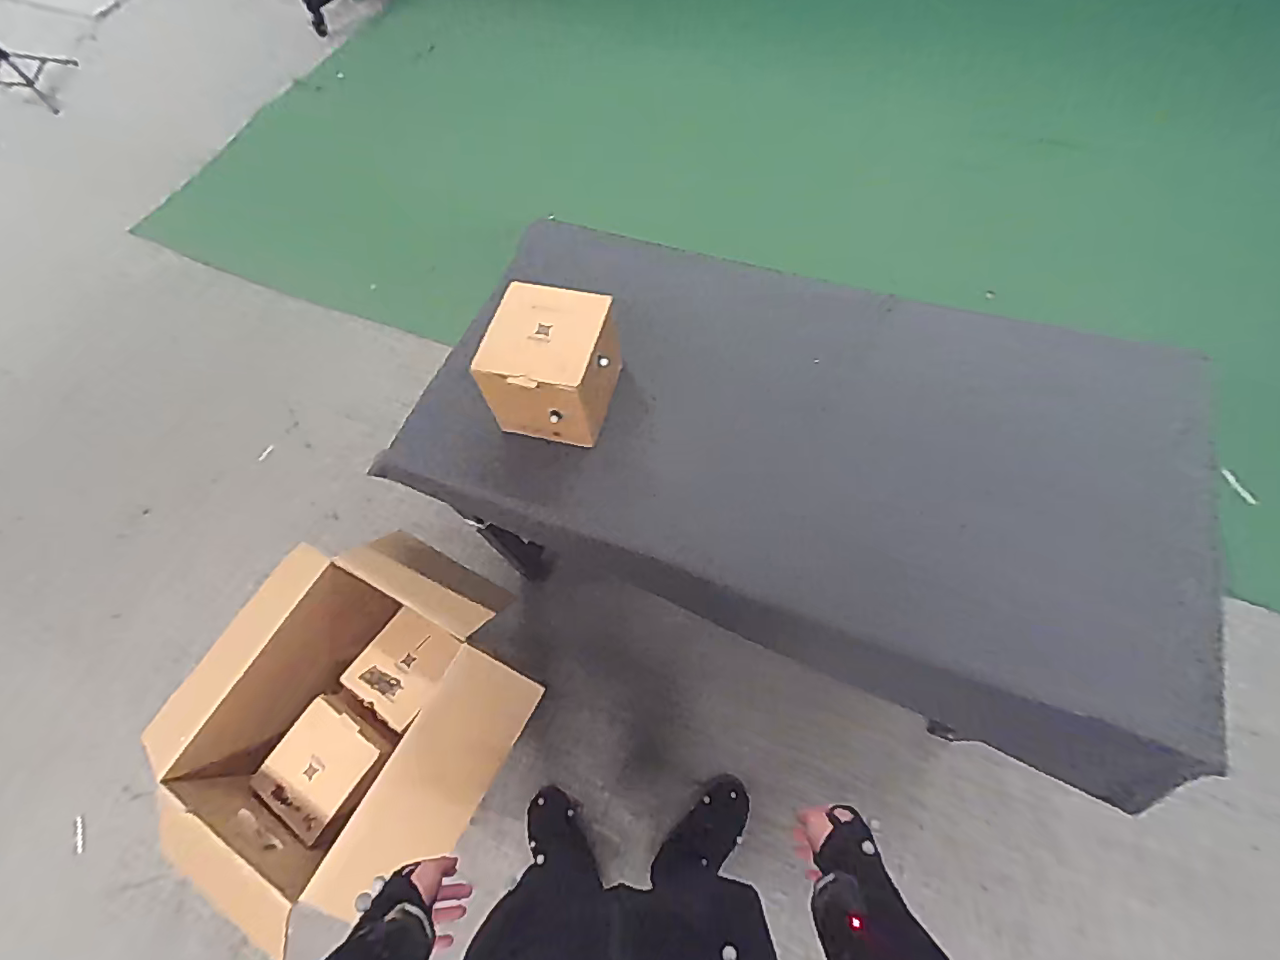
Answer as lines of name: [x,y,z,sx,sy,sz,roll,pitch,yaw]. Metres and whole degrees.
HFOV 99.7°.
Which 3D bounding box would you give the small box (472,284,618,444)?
small box: [-0.137,-0.179,0.864,0.168,0.176,0.179,12,64,9]
